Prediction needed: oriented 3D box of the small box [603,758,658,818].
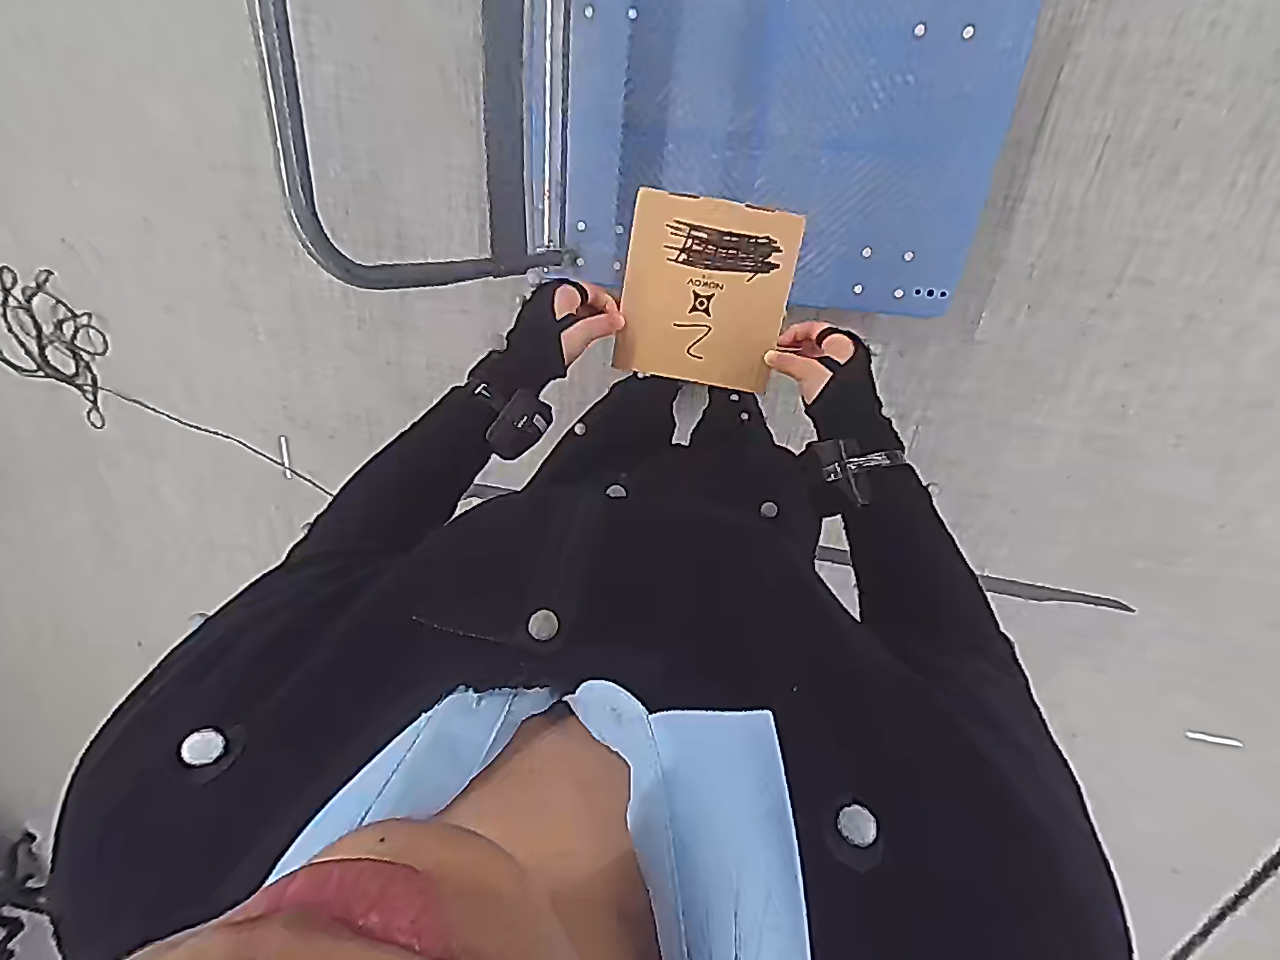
[{"bbox_3d":[-0.029,1.136,1.938,0.168,0.176,0.179,-2,113,8],"label":"small box"}]
